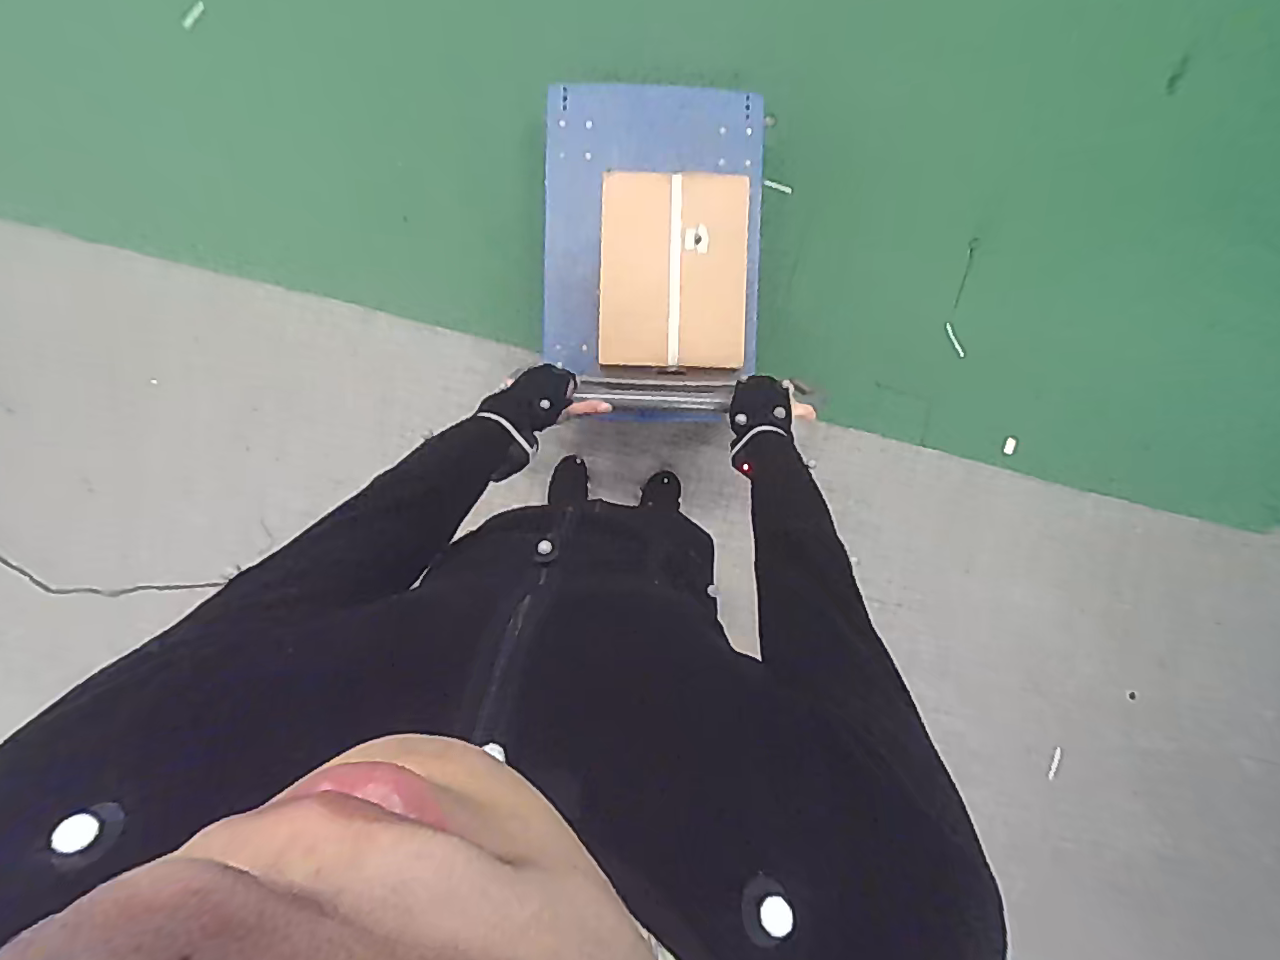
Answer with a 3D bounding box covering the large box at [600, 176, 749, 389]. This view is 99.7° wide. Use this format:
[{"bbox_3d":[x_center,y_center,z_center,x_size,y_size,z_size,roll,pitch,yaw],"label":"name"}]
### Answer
[{"bbox_3d":[0.071,-0.436,1.282,0.320,0.320,0.408,1,92,-2],"label":"large box"}]
